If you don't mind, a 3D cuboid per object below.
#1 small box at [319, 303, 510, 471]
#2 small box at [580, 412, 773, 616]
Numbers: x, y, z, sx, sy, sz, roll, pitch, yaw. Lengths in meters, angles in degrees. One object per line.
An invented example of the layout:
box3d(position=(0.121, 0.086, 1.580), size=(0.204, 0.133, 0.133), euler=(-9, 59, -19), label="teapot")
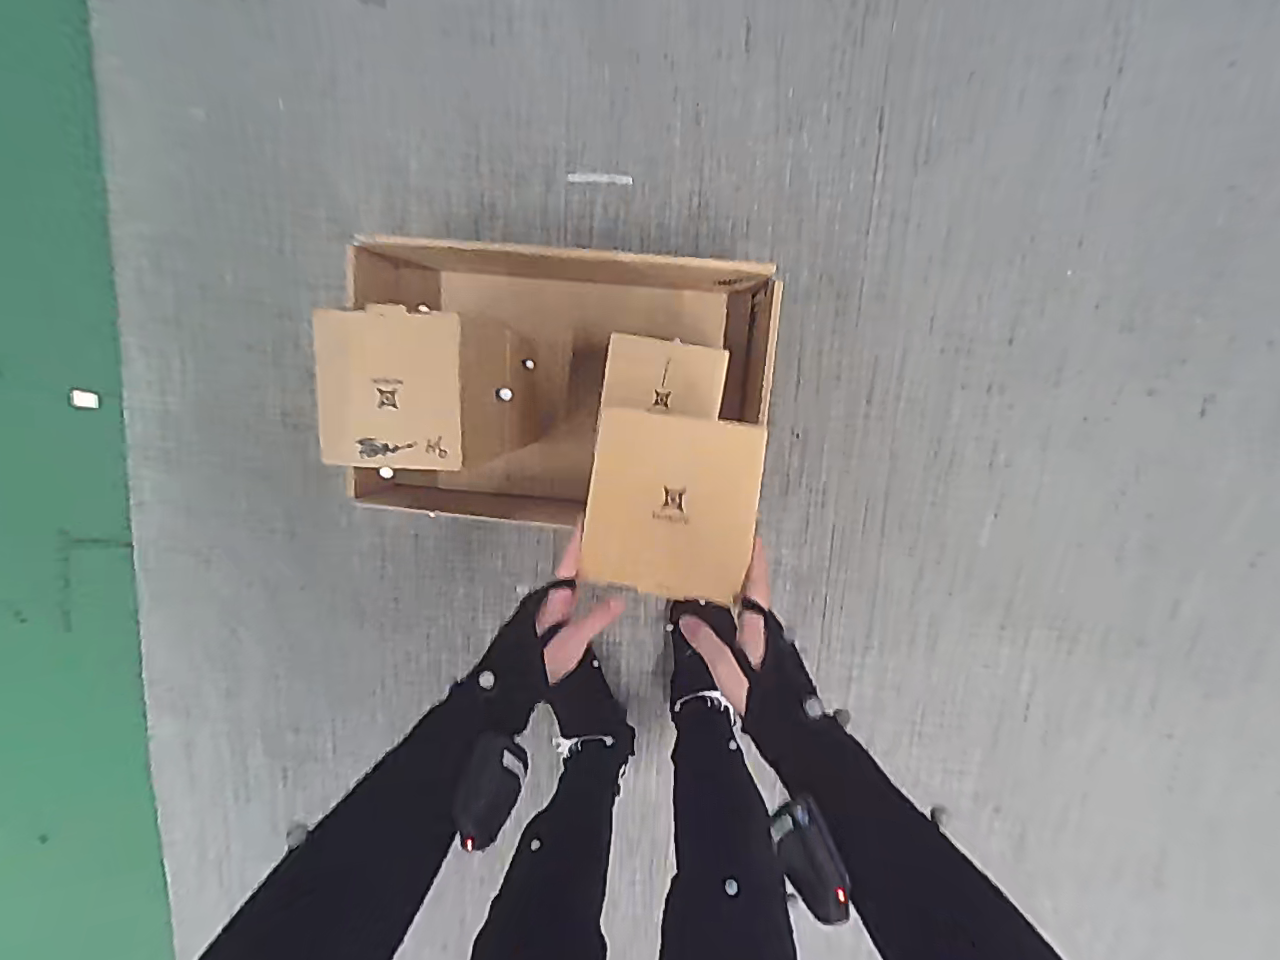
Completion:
box3d(position=(-0.267, -0.111, 0.672), size=(0.168, 0.176, 0.179), euler=(4, 98, 4), label="small box")
box3d(position=(0.037, 0.039, 0.593), size=(0.168, 0.176, 0.179), euler=(8, 85, 3), label="small box")
